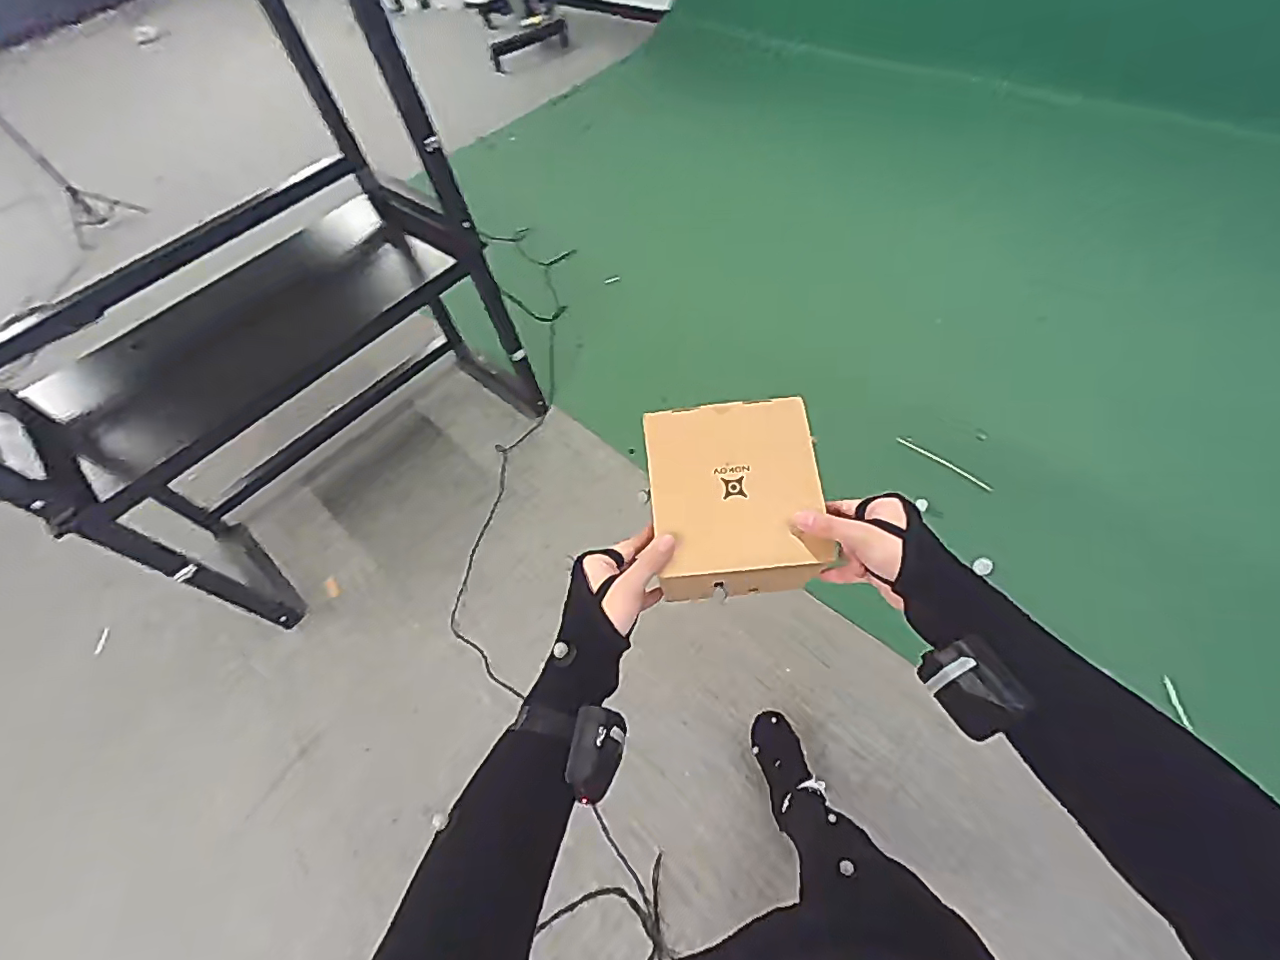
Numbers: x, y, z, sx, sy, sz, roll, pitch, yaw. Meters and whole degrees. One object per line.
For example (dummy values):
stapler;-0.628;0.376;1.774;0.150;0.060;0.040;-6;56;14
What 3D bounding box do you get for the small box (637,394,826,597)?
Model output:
small box;0.092;0.029;0.599;0.168;0.176;0.179;-7;68;3
